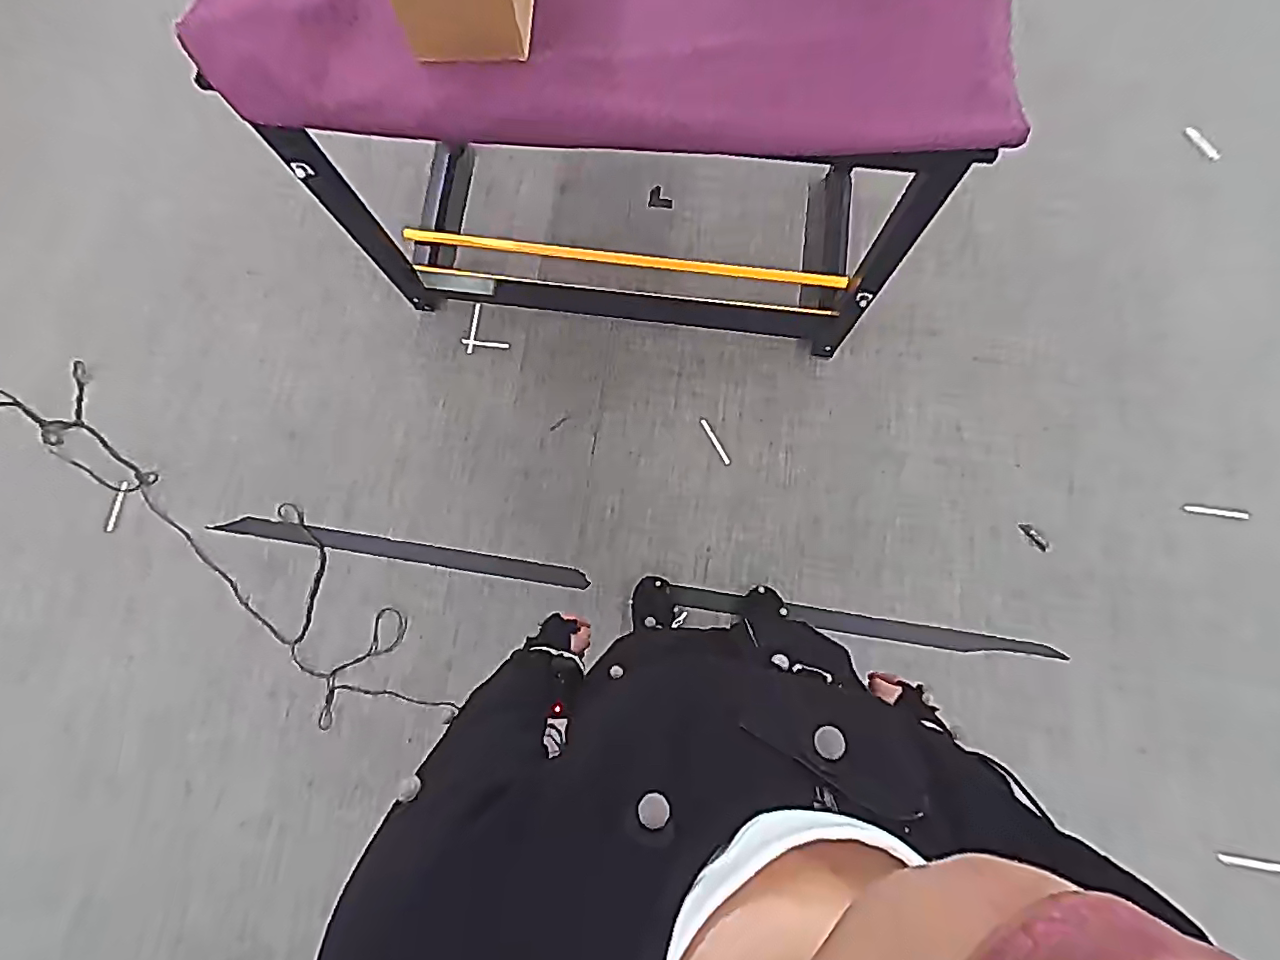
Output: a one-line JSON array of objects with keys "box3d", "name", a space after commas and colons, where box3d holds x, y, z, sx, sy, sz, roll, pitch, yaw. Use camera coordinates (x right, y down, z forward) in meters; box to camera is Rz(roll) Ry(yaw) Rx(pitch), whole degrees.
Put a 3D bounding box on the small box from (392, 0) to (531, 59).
[{"box3d": [-0.252, -0.731, 0.756, 0.179, 0.176, 0.168, 2, 79, 3], "name": "small box"}]
